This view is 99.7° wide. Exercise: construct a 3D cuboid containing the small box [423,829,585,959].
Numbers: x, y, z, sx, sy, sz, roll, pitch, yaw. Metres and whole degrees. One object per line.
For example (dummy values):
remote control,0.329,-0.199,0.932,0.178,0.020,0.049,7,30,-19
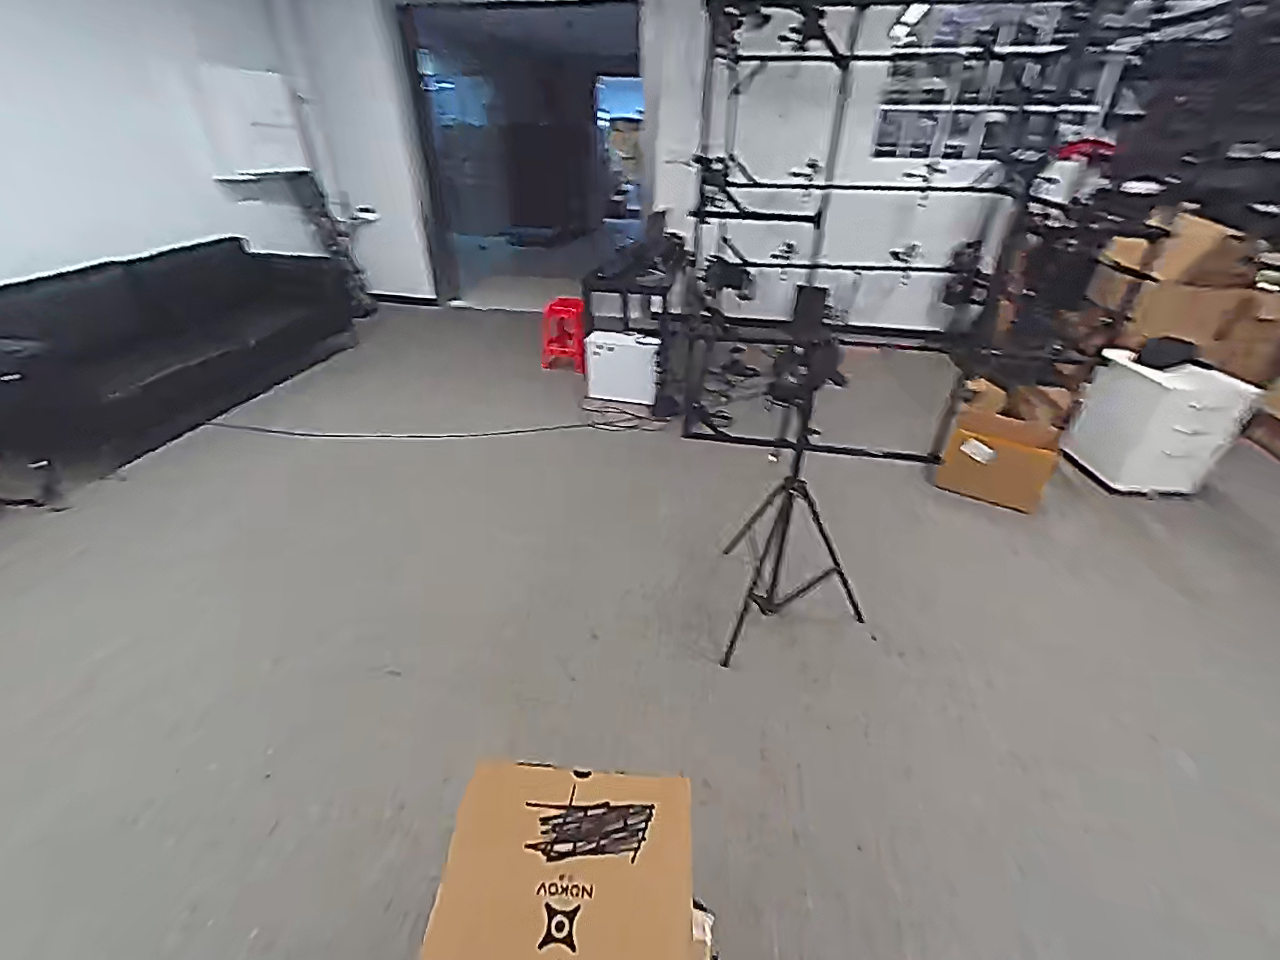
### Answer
small box,-0.182,0.652,0.781,0.168,0.176,0.179,6,35,11
